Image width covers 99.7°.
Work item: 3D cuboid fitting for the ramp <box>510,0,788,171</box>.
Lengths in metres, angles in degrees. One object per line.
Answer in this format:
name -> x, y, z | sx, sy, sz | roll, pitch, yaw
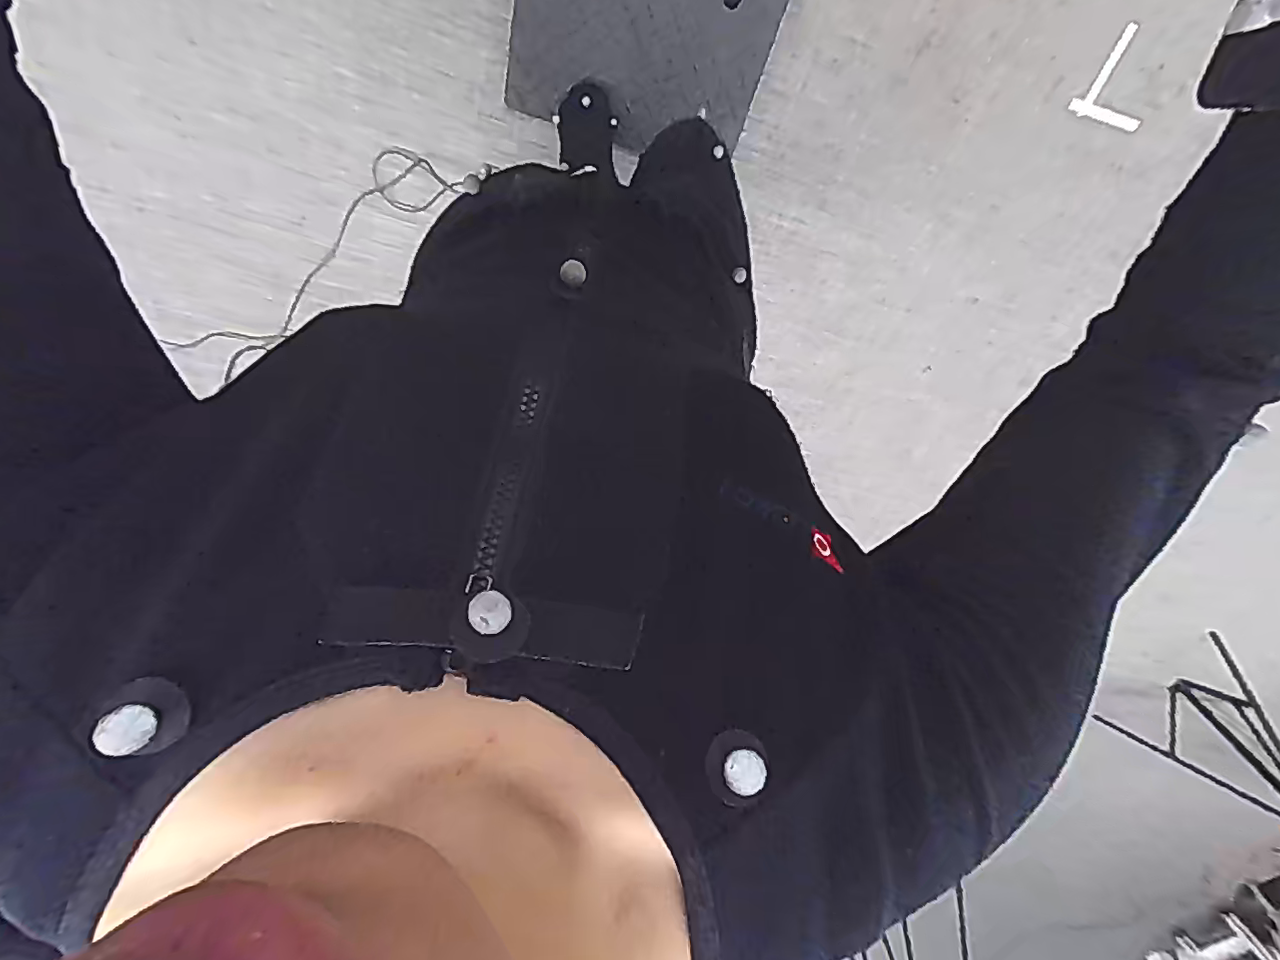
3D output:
ramp -> 0.099, -1.080, 0.839 | 0.509, 0.206, 0.991 | 10, 123, -11
